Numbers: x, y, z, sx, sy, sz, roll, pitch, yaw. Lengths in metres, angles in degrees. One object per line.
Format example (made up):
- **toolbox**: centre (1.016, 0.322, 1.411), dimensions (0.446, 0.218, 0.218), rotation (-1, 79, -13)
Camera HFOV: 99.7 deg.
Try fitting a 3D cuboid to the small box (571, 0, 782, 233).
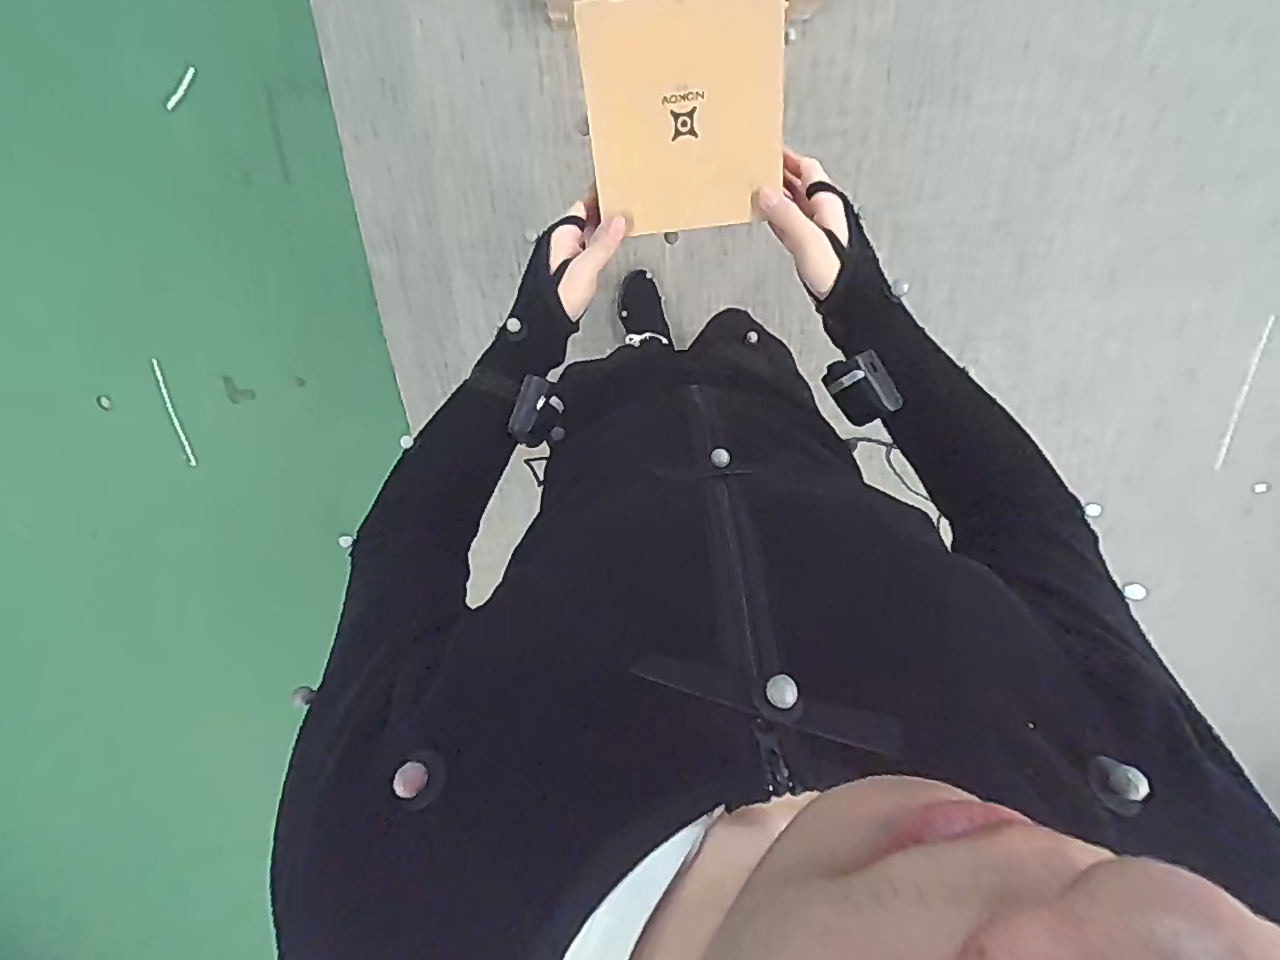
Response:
- **small box**: centre (0.042, -0.347, 0.519), dimensions (0.168, 0.176, 0.179), rotation (-3, 117, 8)
